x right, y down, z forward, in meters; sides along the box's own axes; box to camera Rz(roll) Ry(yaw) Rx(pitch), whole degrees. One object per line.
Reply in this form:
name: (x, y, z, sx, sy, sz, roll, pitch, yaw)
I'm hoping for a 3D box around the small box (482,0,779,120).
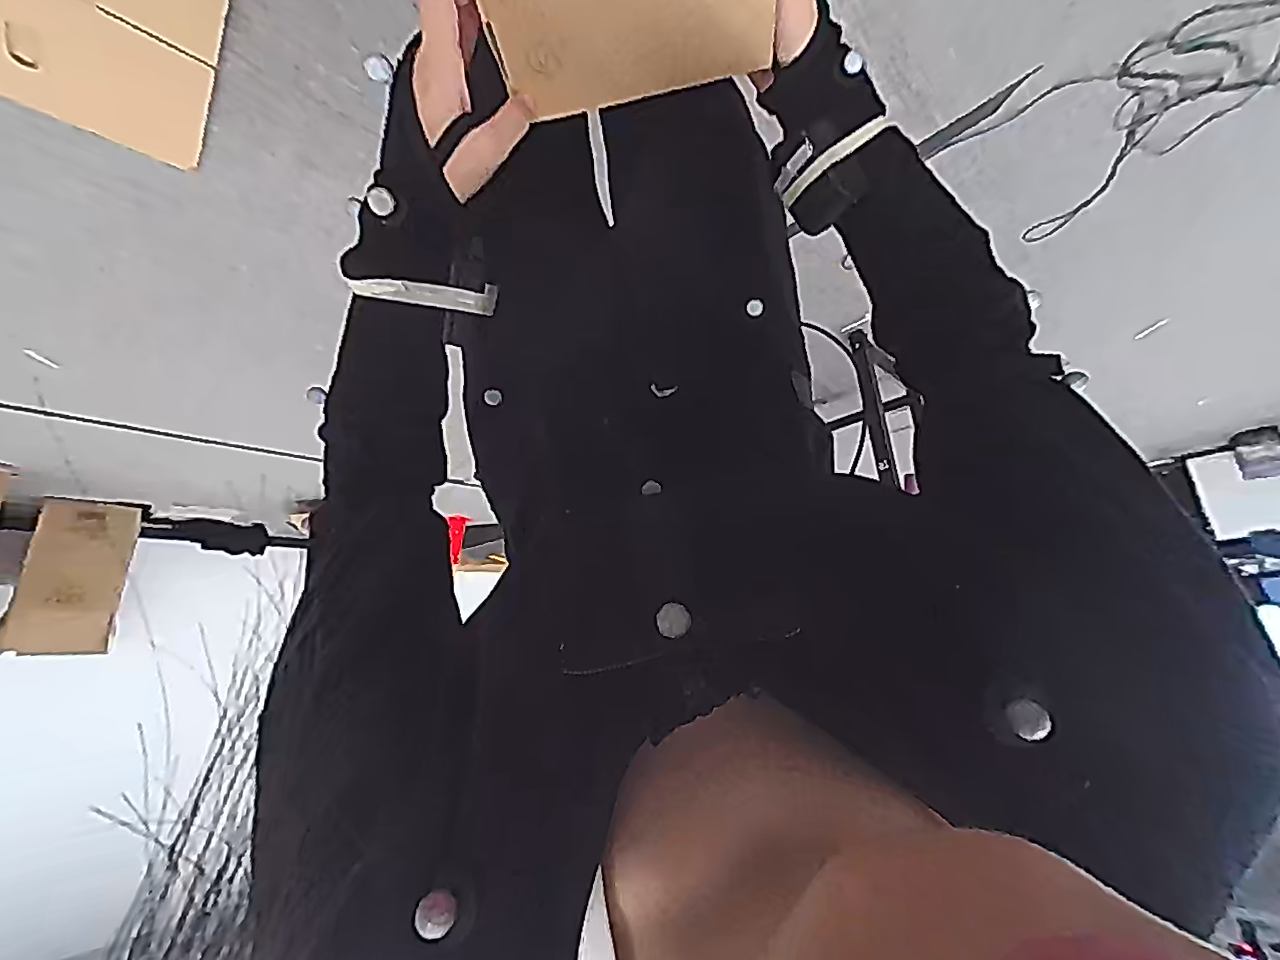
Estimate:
small box: (-0.020, -0.366, 0.326, 0.179, 0.176, 0.168, -13, 153, 4)
